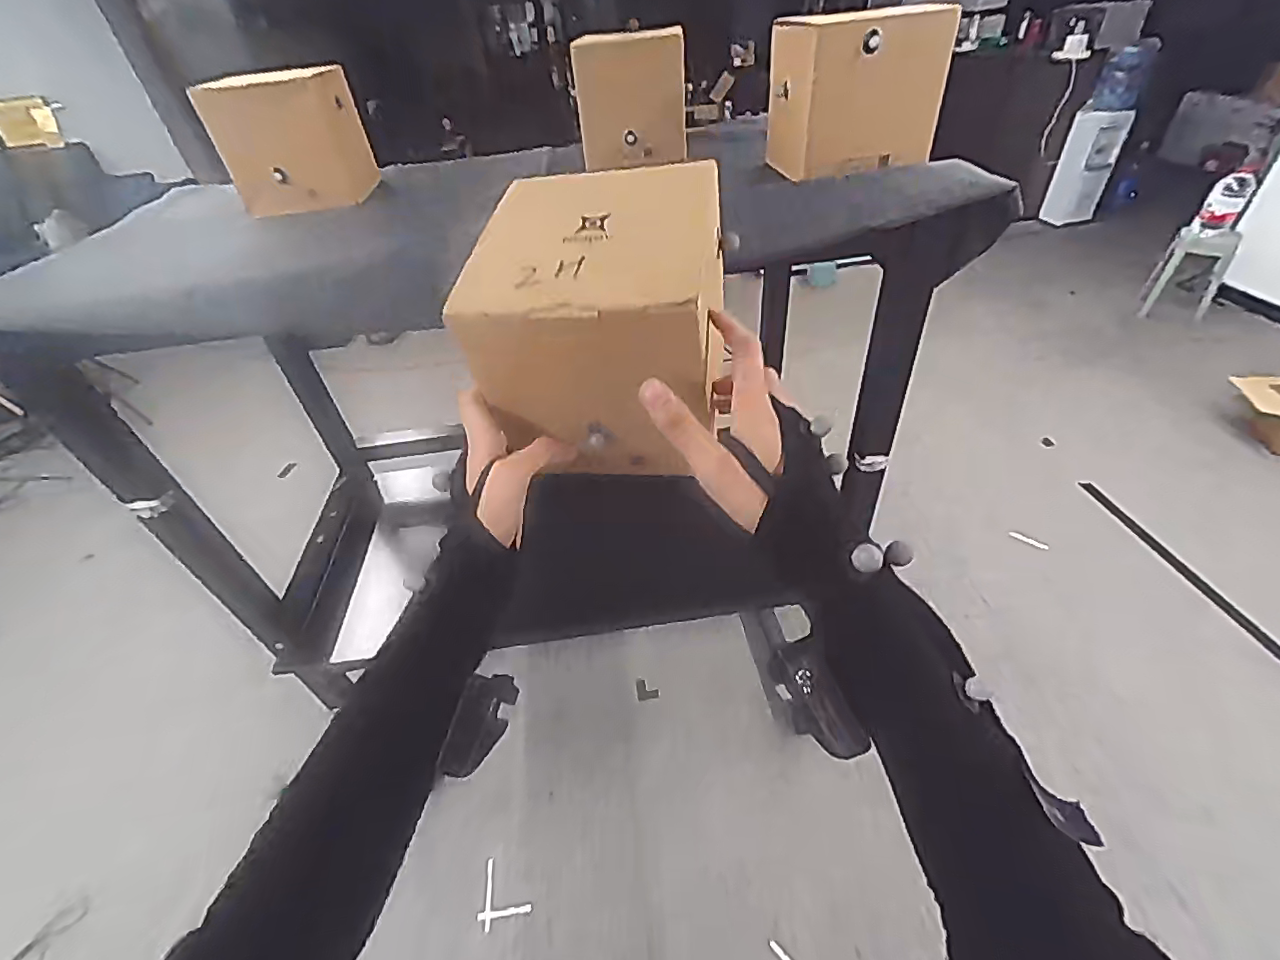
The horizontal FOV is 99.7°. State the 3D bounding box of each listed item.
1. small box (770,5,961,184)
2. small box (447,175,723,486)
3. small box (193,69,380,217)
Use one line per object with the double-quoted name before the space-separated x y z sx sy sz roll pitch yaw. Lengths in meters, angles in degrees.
"small box" 0.275 -0.501 0.710 0.168 0.176 0.179 -8 40 0
"small box" -0.021 -0.116 0.439 0.168 0.176 0.179 1 54 12
"small box" -0.535 -0.532 0.852 0.168 0.176 0.179 -9 42 -3
